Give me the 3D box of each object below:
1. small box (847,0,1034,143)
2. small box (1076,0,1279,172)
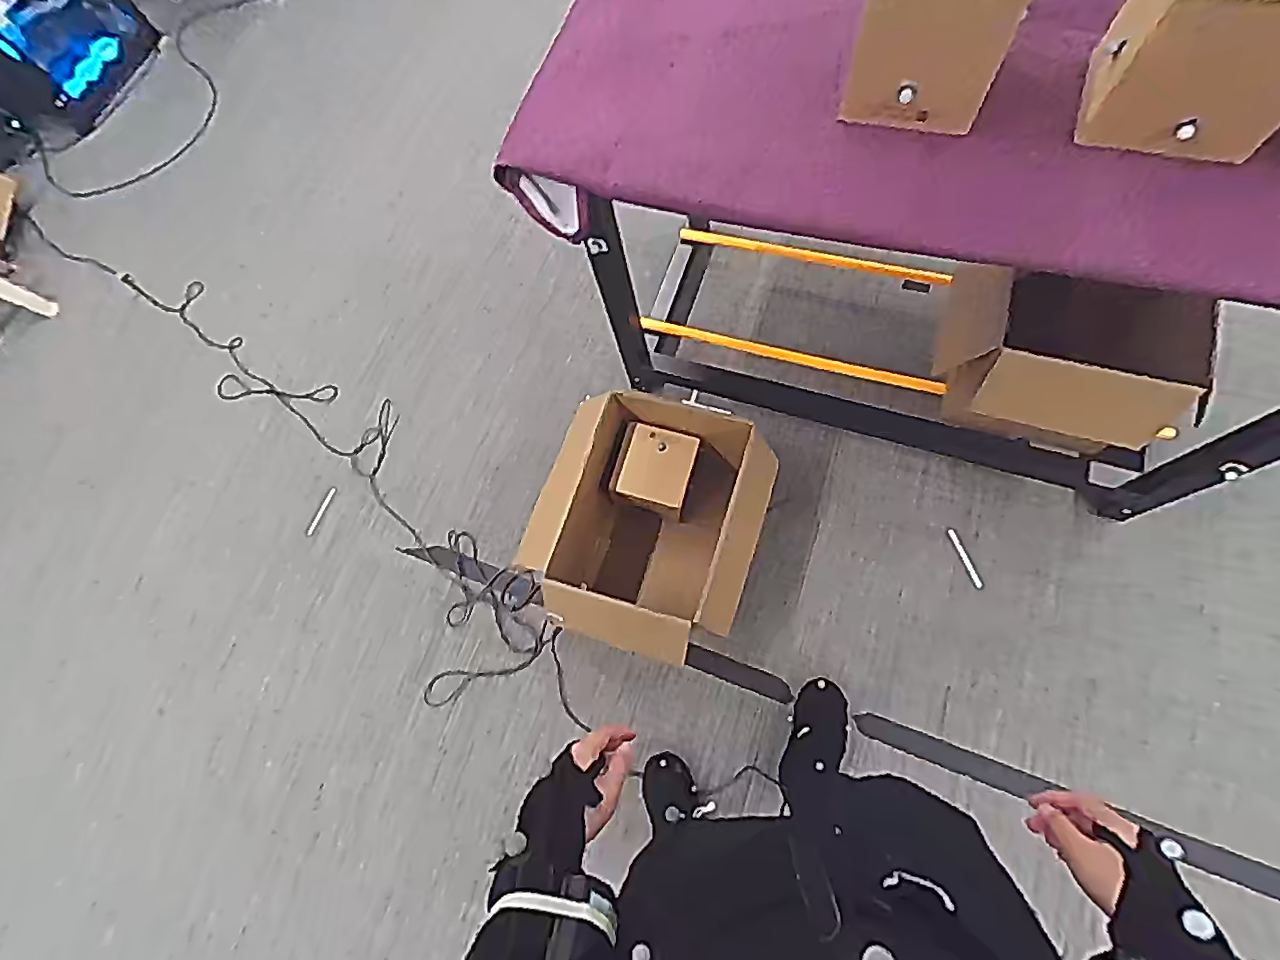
[{"bbox_3d":[0.372,-0.567,0.674,0.168,0.176,0.179,17,74,14],"label":"small box"},{"bbox_3d":[0.640,-0.486,0.601,0.179,0.176,0.168,18,73,15],"label":"small box"}]
